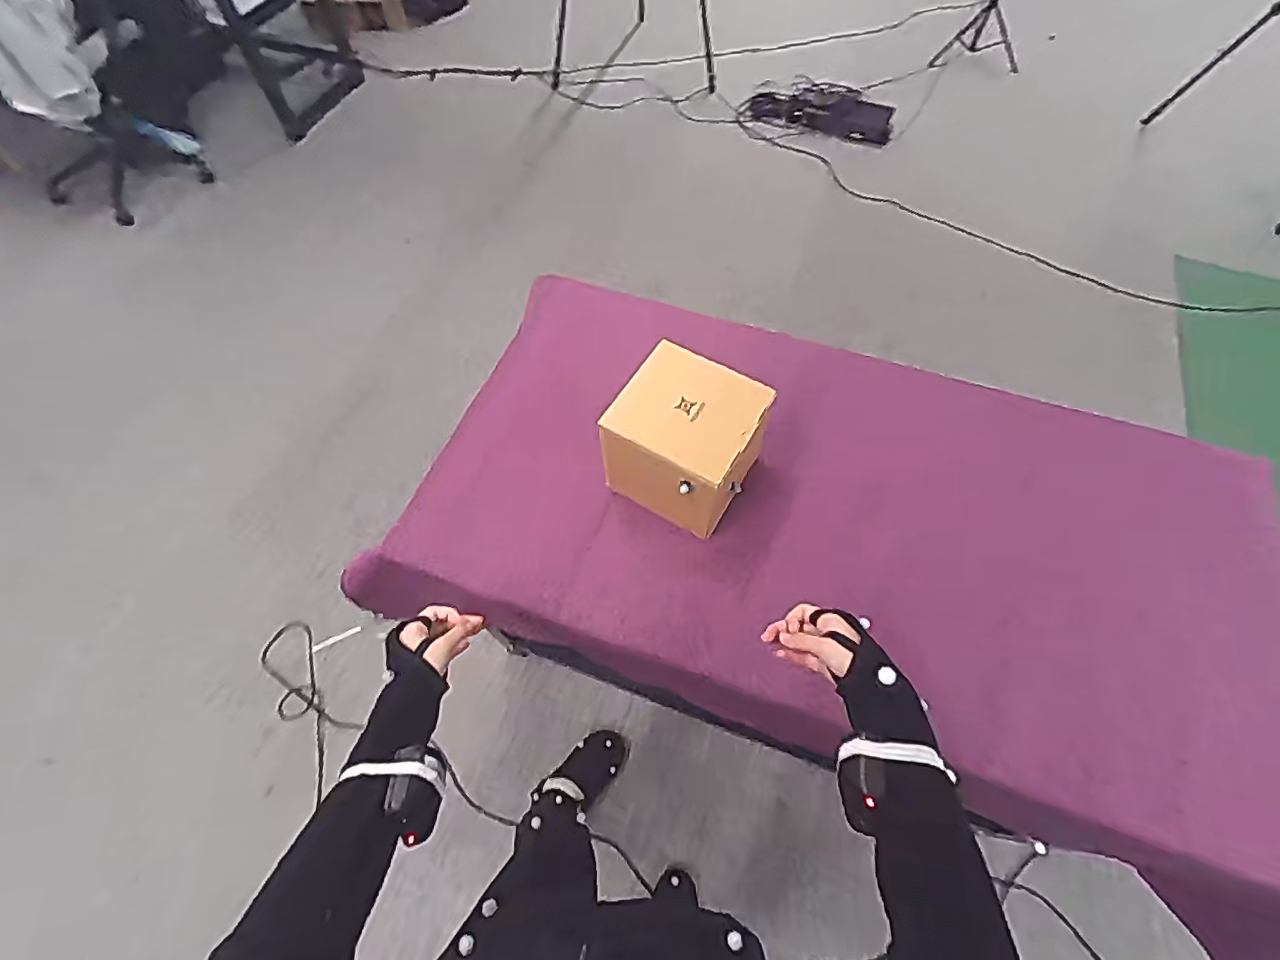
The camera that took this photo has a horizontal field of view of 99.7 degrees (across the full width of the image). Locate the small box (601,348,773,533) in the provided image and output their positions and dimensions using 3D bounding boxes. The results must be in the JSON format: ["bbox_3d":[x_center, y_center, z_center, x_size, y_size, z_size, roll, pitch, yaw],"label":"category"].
[{"bbox_3d":[0.062,-0.049,0.775,0.179,0.176,0.168,28,64,14],"label":"small box"}]
